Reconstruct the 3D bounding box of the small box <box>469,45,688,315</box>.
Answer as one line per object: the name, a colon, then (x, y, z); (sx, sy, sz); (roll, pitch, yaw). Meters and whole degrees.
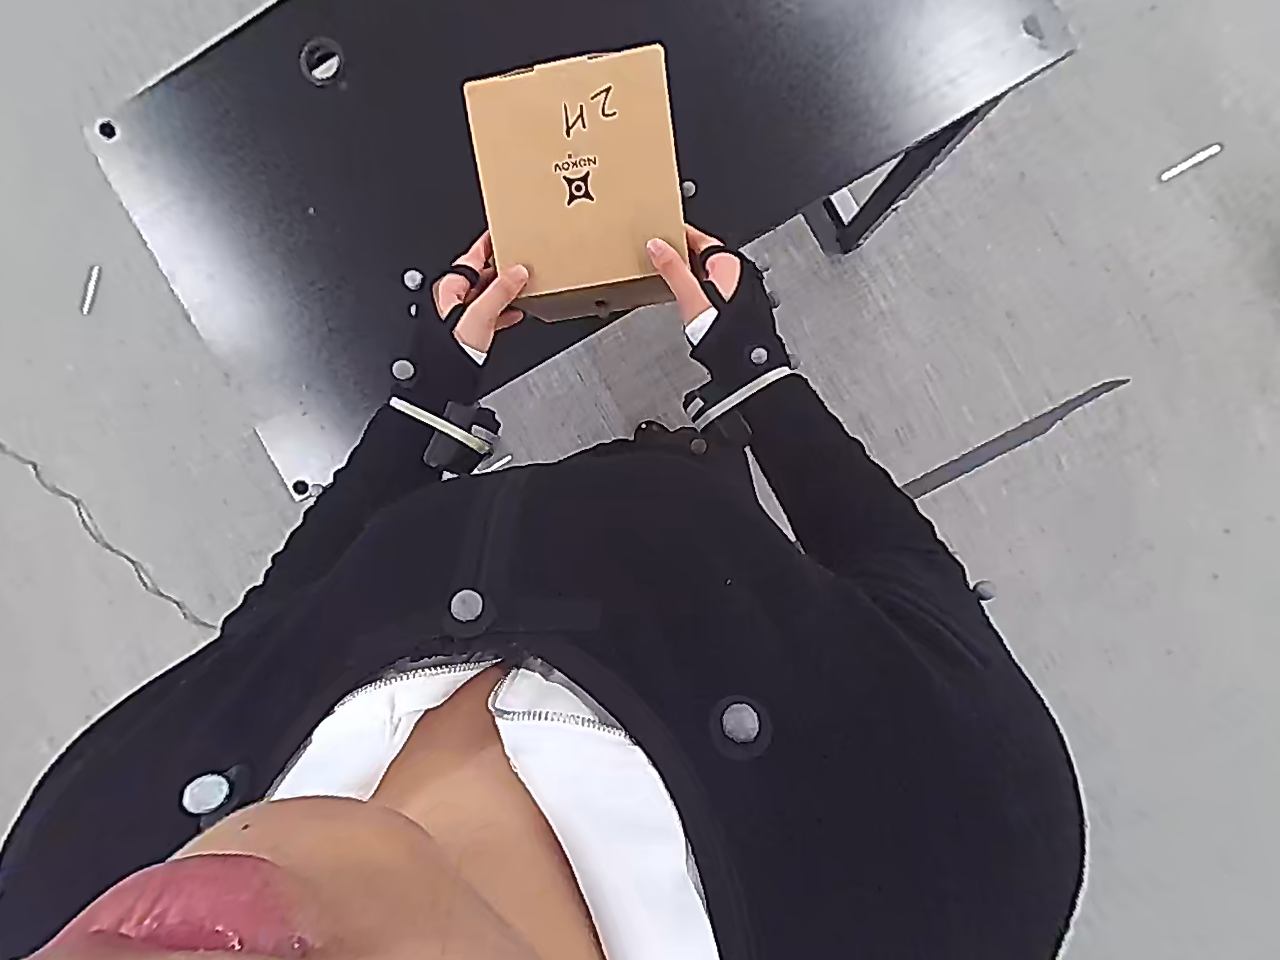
small box: (-0.043, -0.264, 0.527); (0.168, 0.176, 0.179); (-8, 98, 5)
